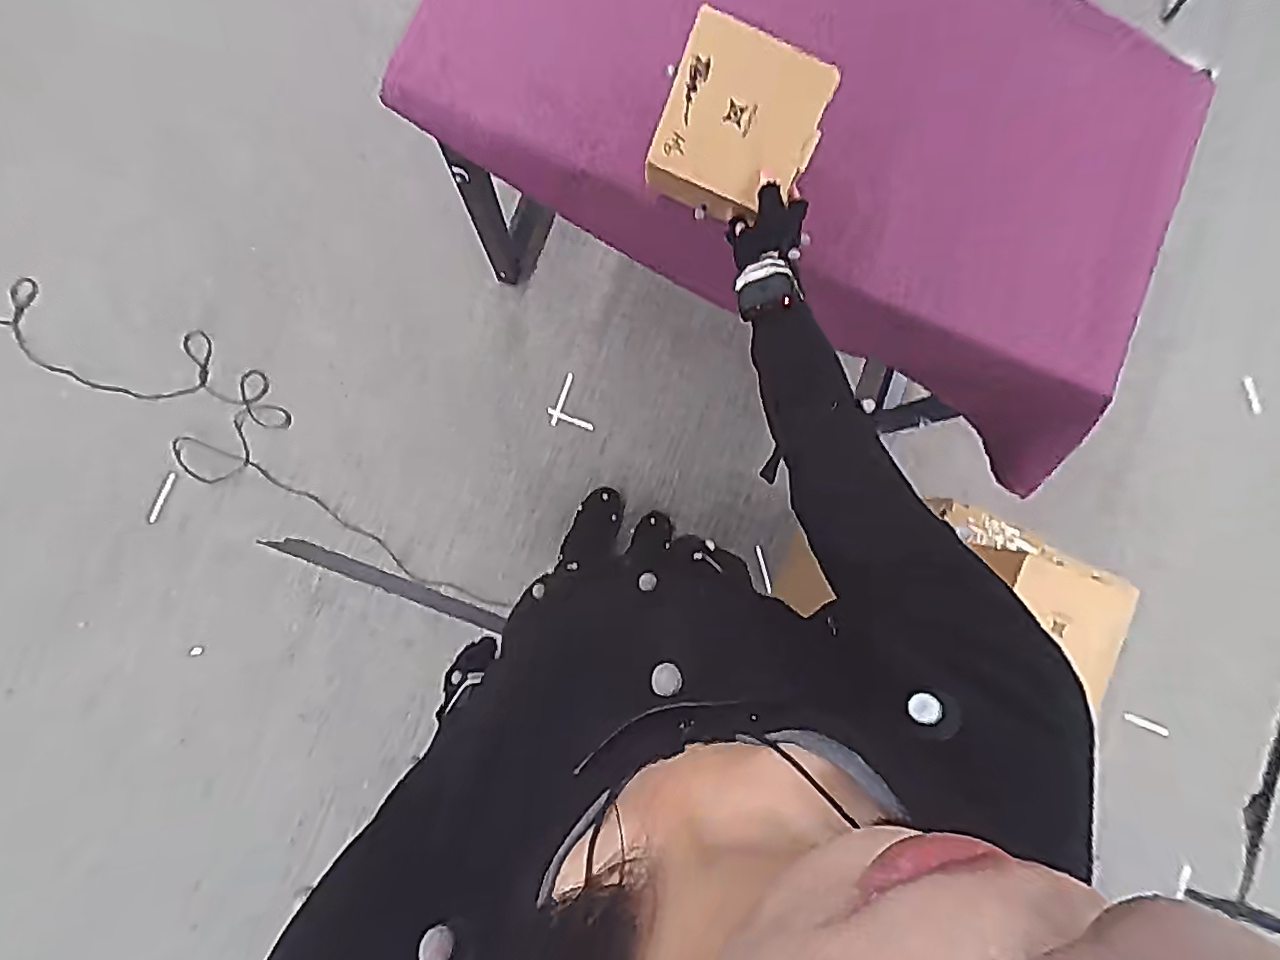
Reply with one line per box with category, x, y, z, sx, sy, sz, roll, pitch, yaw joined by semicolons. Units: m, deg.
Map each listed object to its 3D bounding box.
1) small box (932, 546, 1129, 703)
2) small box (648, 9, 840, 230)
small box;0.606;0.216;0.863;0.168;0.176;0.179;22;87;-2
small box;0.120;-0.444;0.704;0.179;0.176;0.168;21;107;-7
